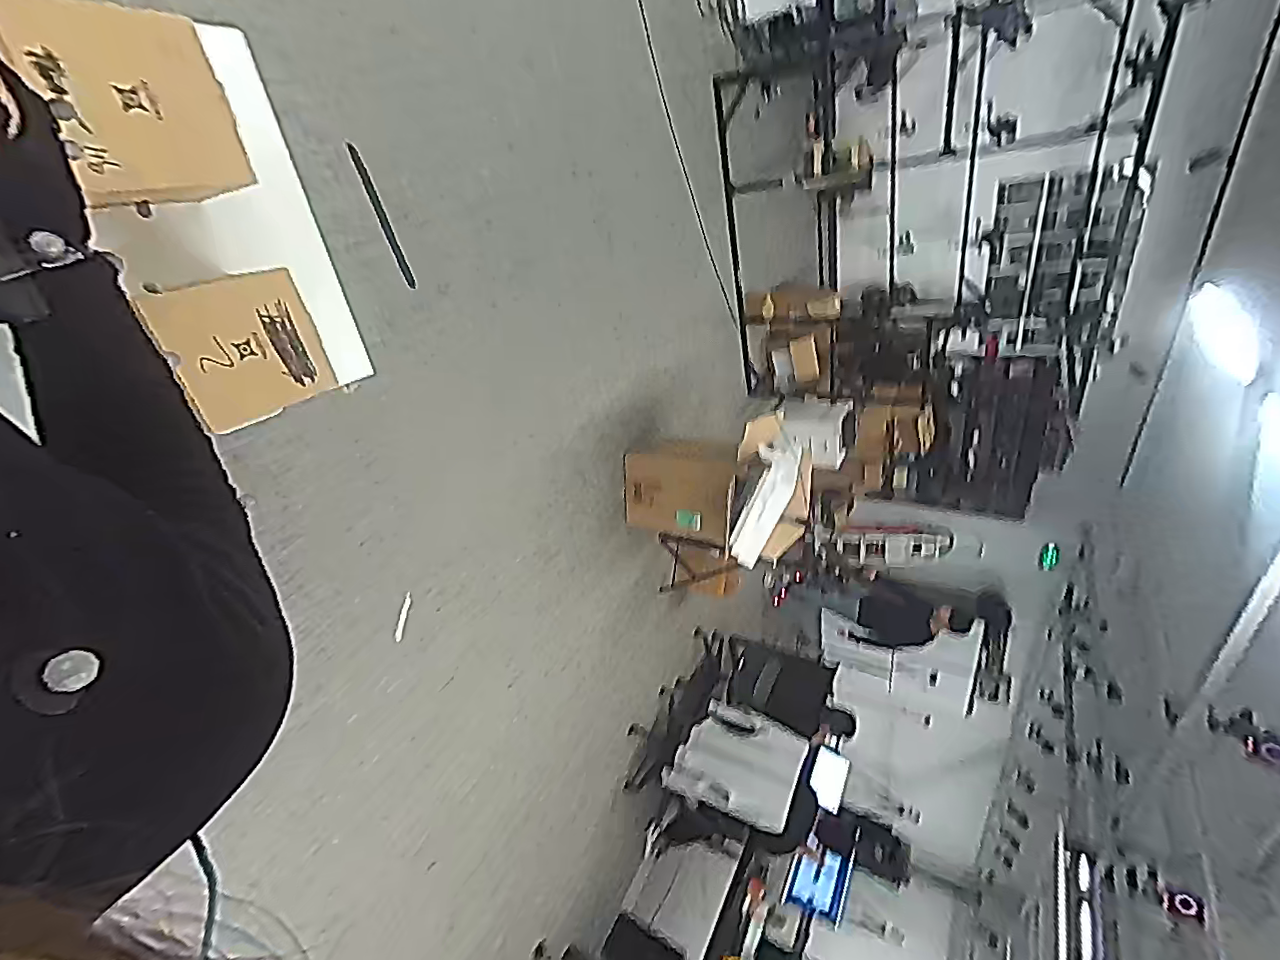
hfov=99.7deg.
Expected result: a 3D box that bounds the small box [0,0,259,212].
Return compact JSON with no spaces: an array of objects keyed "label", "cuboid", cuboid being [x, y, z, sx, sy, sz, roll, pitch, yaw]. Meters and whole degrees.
[{"label":"small box","cuboid":[-0.596,-0.411,0.616,0.179,0.176,0.168,-42,131,-48]}]
